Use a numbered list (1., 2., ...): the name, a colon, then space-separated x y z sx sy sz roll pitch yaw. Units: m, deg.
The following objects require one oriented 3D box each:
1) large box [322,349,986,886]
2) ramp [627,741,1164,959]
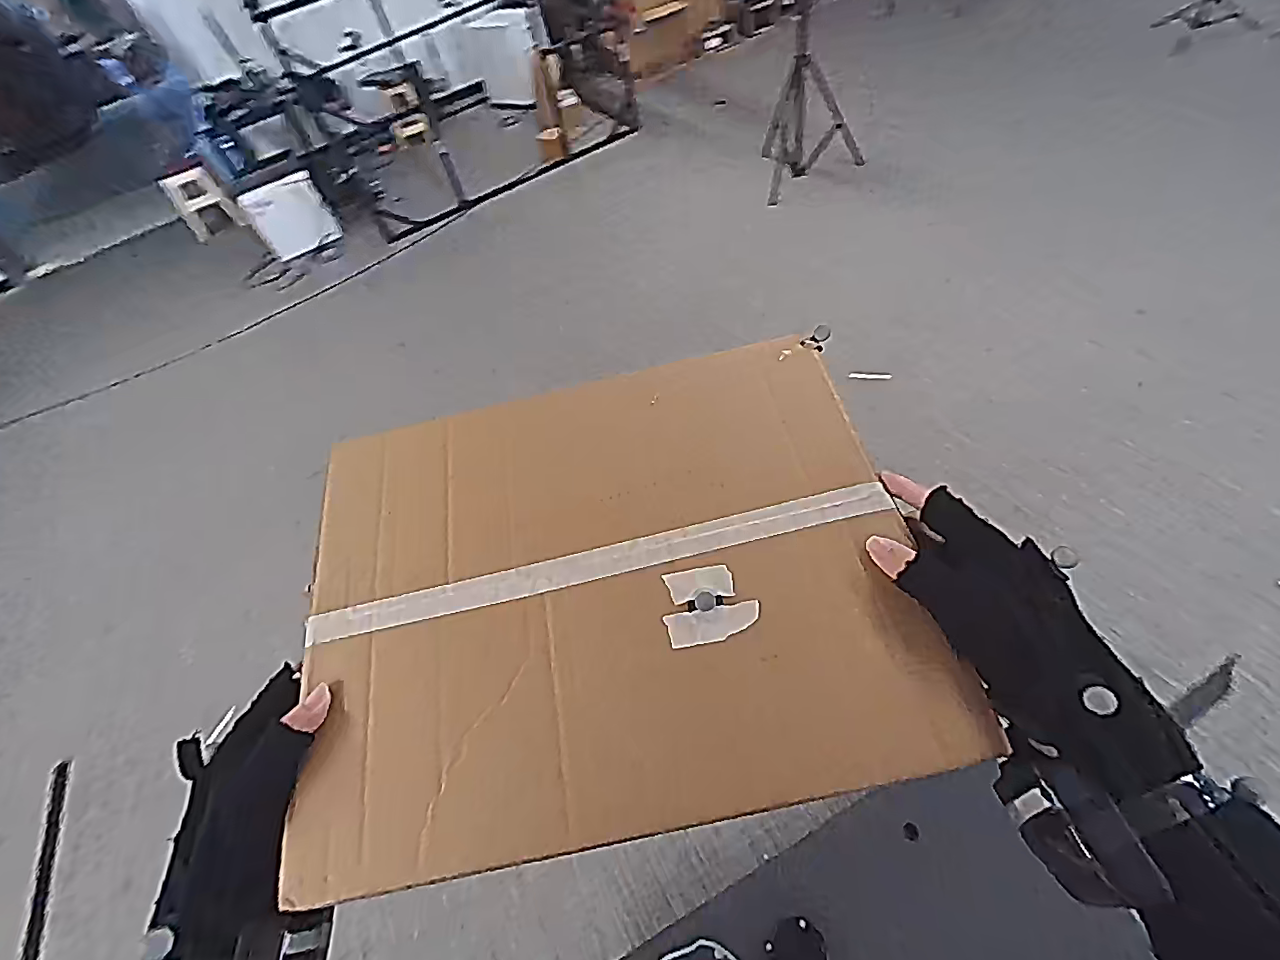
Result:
1. large box: -0.003 0.135 0.513 0.408 0.320 0.320 -13 61 1
2. ramp: 0.481 0.962 1.070 0.991 0.206 0.509 -30 50 -10
